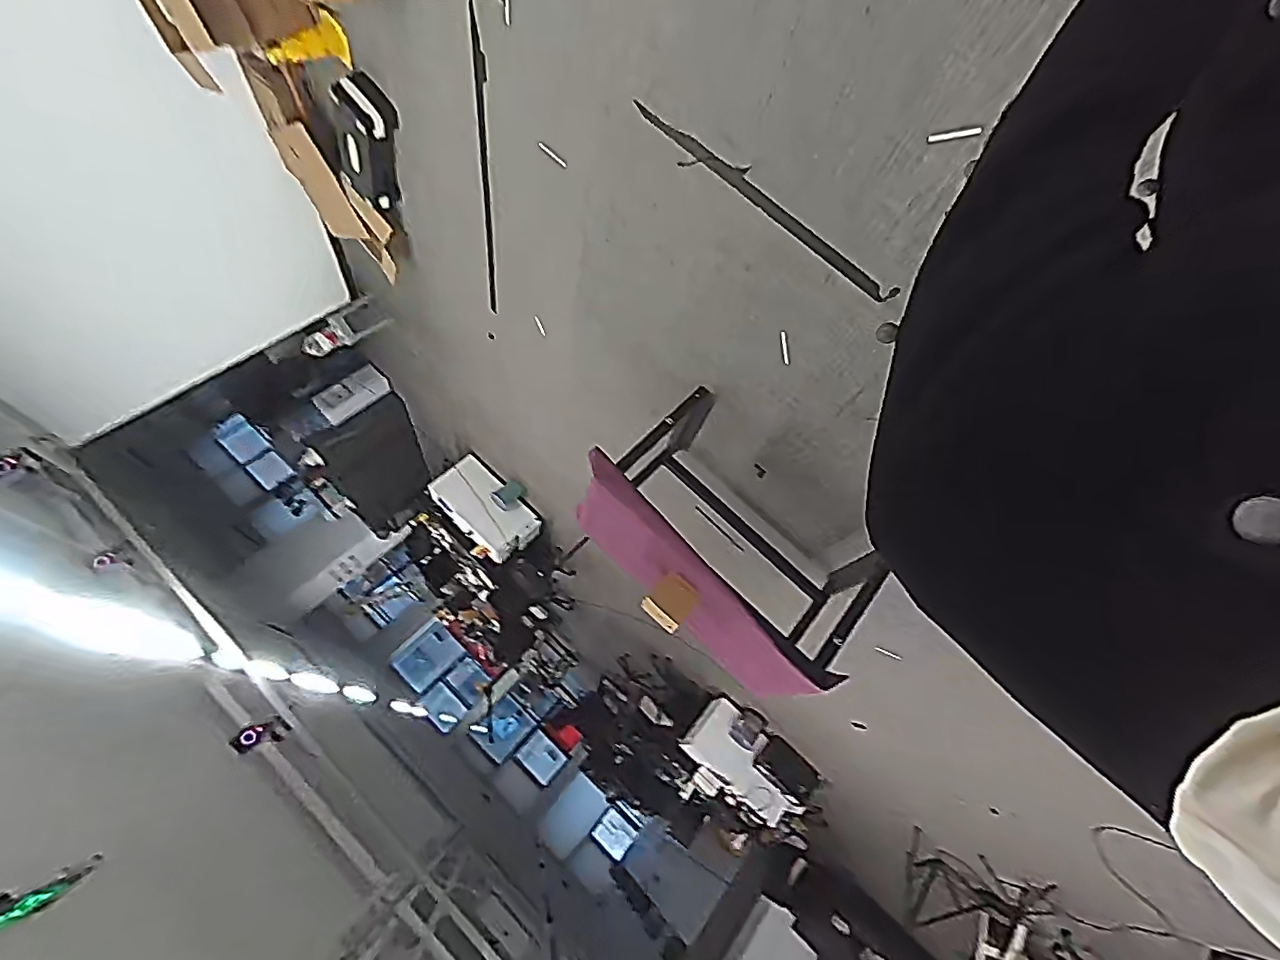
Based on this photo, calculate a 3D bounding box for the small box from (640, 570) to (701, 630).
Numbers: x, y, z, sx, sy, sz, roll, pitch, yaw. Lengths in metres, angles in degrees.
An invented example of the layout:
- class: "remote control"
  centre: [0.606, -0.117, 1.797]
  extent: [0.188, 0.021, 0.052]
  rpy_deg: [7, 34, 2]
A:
- class: "small box"
  centre: [0.129, 0.502, 2.293]
  extent: [0.179, 0.176, 0.168]
  rpy_deg: [43, 156, 11]
